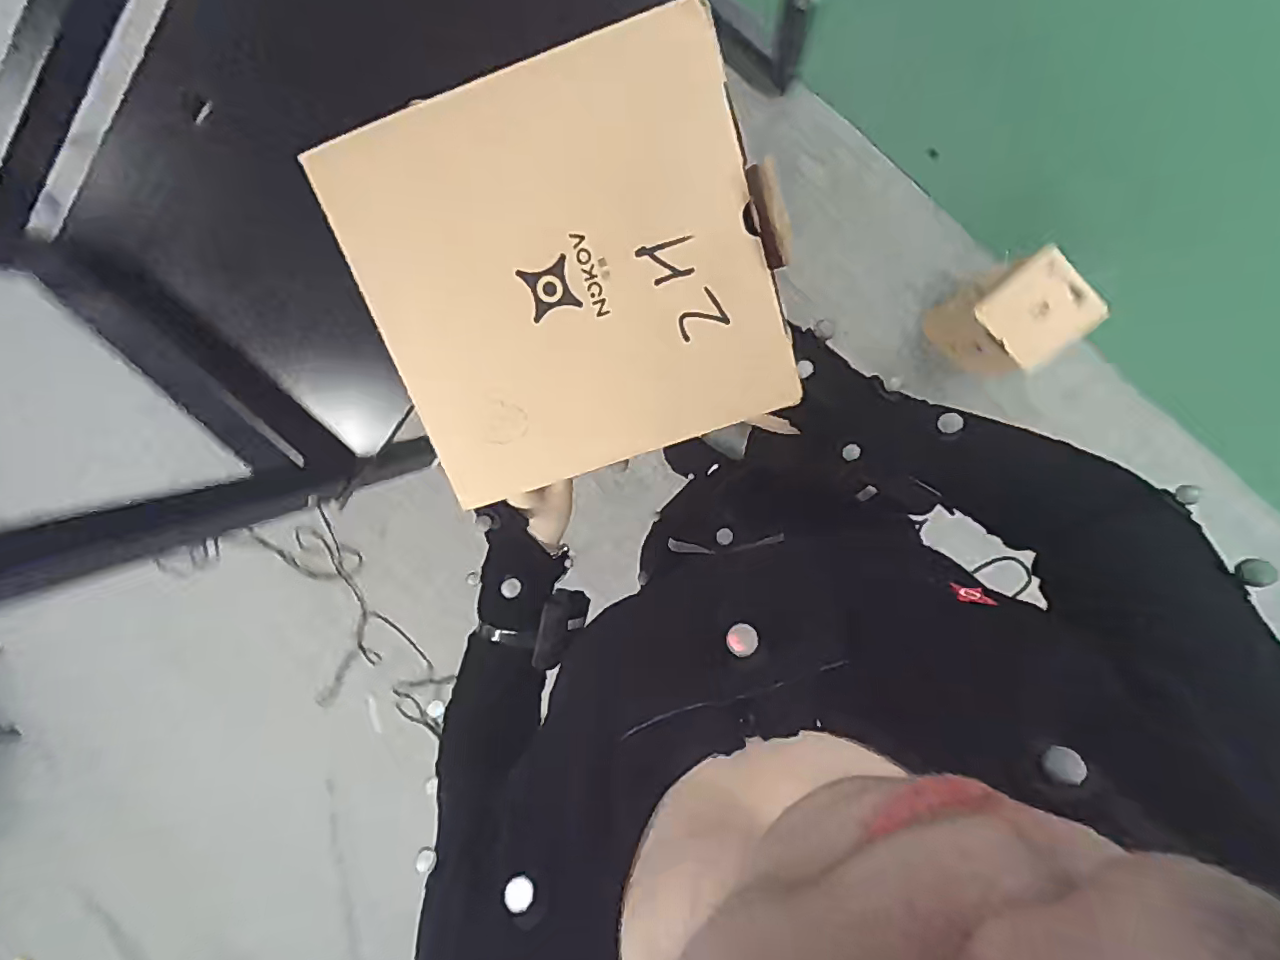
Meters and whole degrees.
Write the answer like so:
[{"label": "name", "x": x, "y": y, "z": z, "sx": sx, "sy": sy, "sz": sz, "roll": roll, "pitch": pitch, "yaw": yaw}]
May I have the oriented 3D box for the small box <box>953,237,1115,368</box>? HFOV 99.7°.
[{"label": "small box", "x": 0.760, "y": -0.338, "z": 1.074, "sx": 0.179, "sy": 0.176, "sz": 0.168, "roll": -42, "pitch": 91, "yaw": 14}]
